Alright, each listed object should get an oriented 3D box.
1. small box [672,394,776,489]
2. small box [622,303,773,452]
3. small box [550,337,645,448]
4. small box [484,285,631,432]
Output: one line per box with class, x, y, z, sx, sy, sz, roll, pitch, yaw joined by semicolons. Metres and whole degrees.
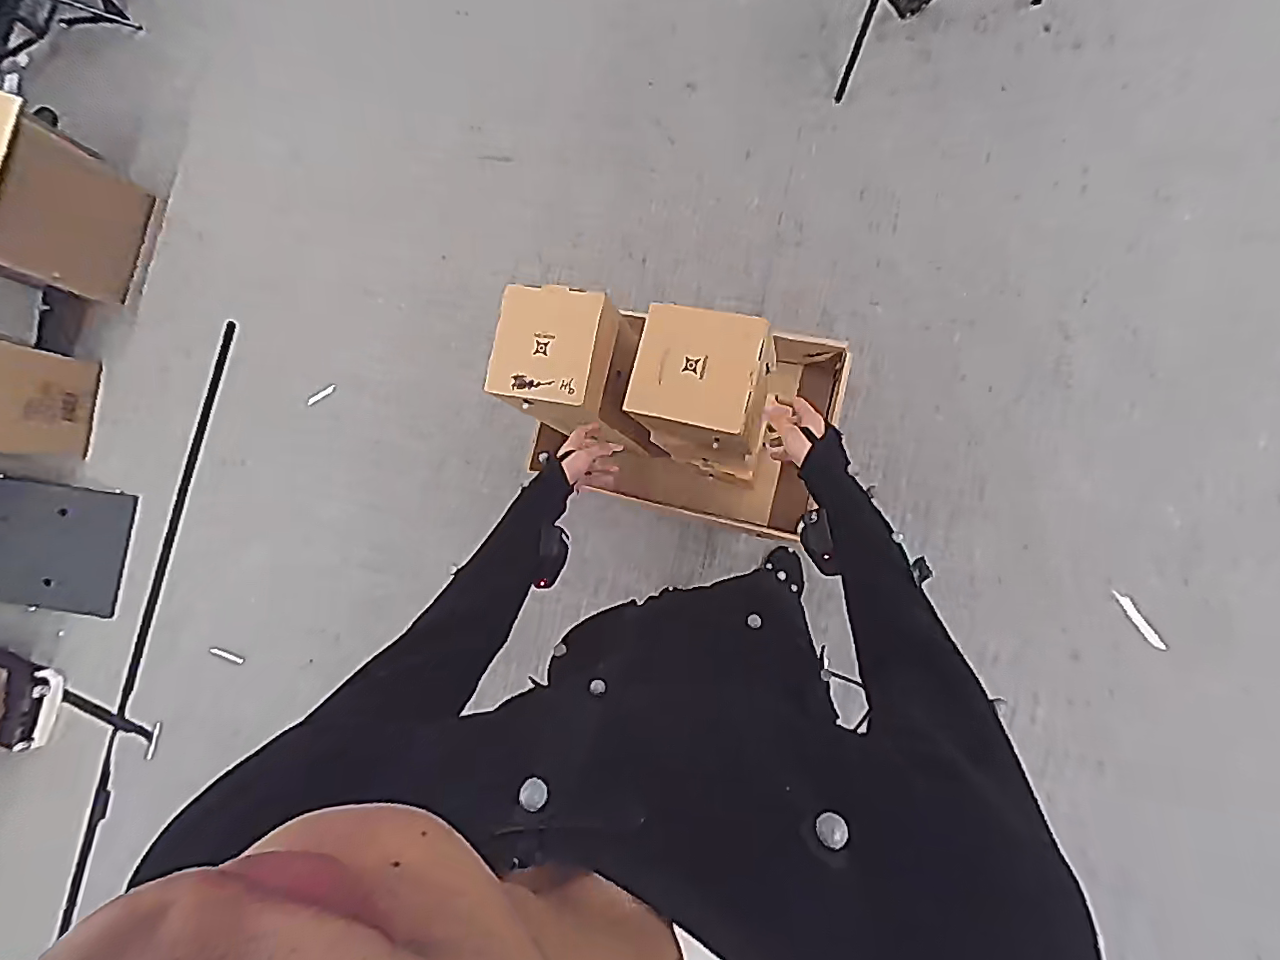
small box;0.183;-0.091;1.134;0.168;0.176;0.179;16;88;18
small box;0.097;-0.147;0.823;0.179;0.176;0.168;14;87;19
small box;-0.076;-0.171;1.039;0.168;0.176;0.179;11;87;15
small box;-0.123;-0.192;0.881;0.168;0.176;0.179;11;85;17
